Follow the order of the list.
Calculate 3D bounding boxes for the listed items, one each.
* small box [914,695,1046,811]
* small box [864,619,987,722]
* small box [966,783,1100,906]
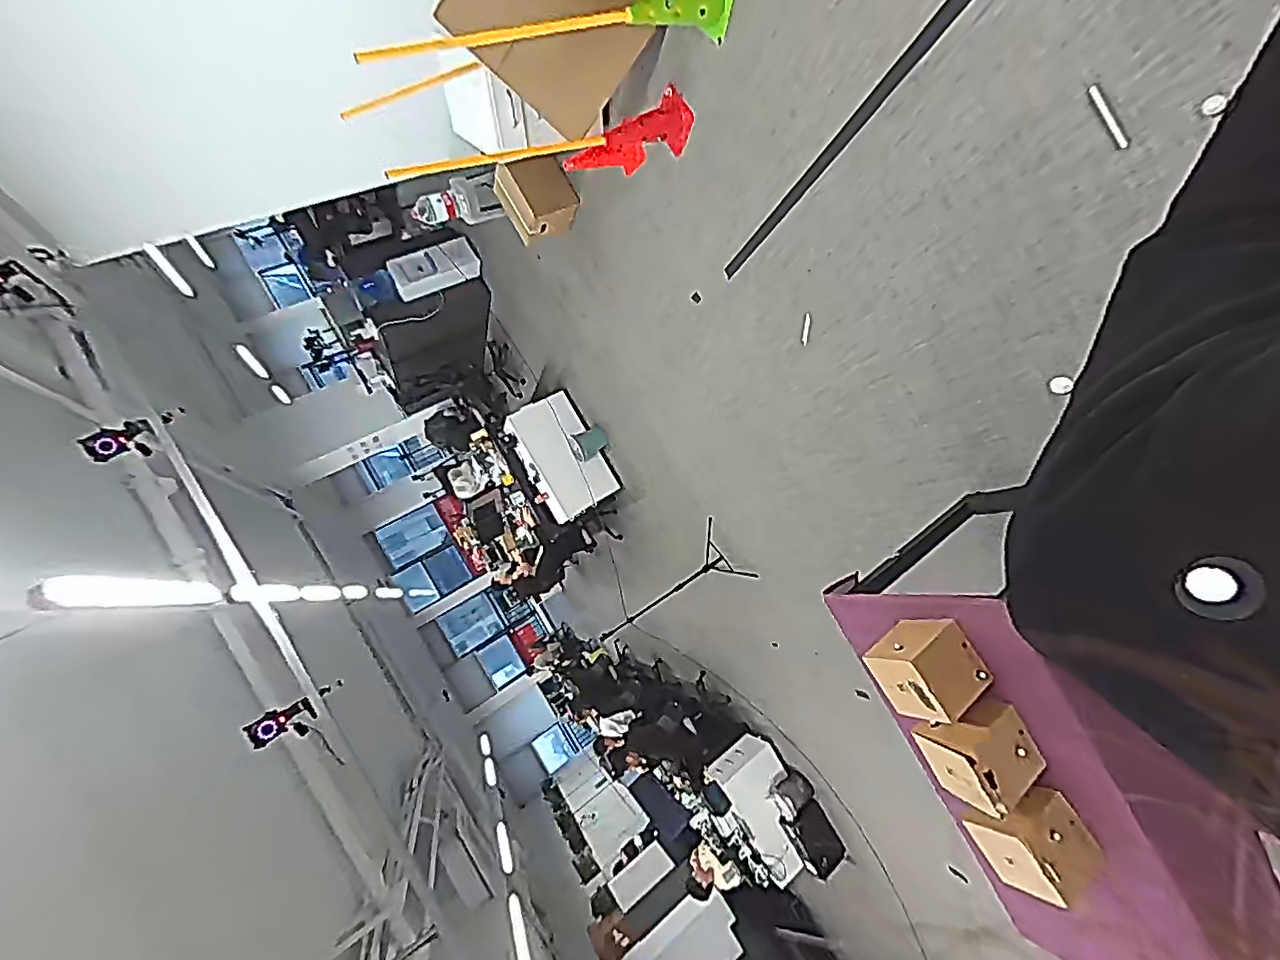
[{"bbox_3d":[0.811,0.636,1.294,0.168,0.176,0.179,60,158,-1],"label":"small box"},{"bbox_3d":[0.695,0.450,1.307,0.168,0.176,0.179,57,159,5],"label":"small box"},{"bbox_3d":[0.941,0.846,1.289,0.168,0.176,0.179,57,159,8],"label":"small box"}]
